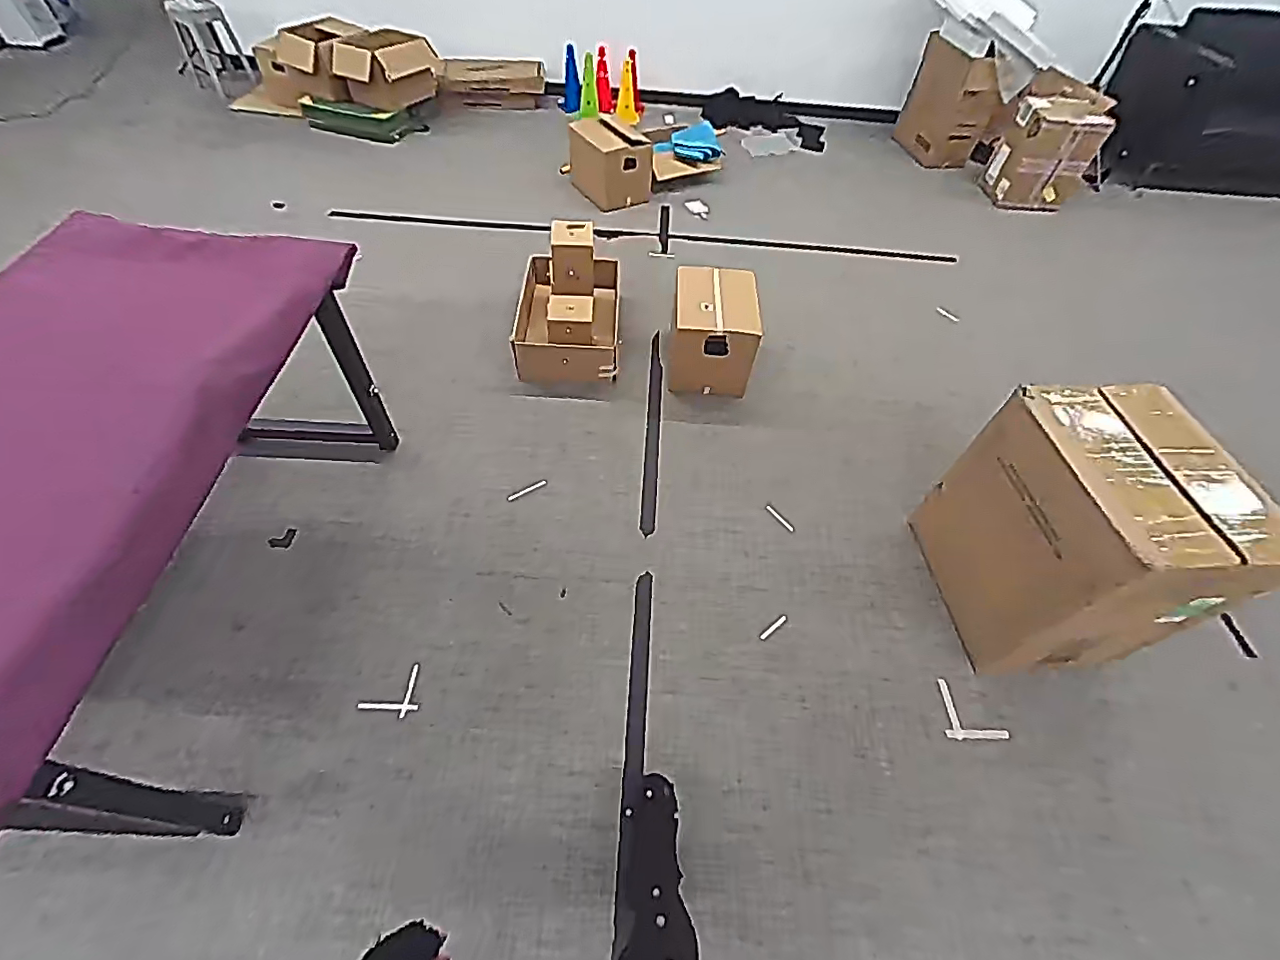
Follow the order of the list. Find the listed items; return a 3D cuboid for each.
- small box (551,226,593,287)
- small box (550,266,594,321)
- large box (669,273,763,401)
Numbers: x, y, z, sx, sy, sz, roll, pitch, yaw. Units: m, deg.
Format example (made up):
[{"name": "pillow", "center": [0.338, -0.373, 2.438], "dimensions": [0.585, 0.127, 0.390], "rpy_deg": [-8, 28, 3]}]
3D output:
[{"name": "small box", "center": [-0.274, -0.911, 2.205], "dimensions": [0.168, 0.176, 0.179], "rpy_deg": [-1, 54, -5]}, {"name": "small box", "center": [-0.294, -0.804, 2.330], "dimensions": [0.179, 0.176, 0.168], "rpy_deg": [-4, 54, -8]}, {"name": "large box", "center": [0.288, -0.576, 2.175], "dimensions": [0.320, 0.320, 0.408], "rpy_deg": [3, 53, -1]}]
